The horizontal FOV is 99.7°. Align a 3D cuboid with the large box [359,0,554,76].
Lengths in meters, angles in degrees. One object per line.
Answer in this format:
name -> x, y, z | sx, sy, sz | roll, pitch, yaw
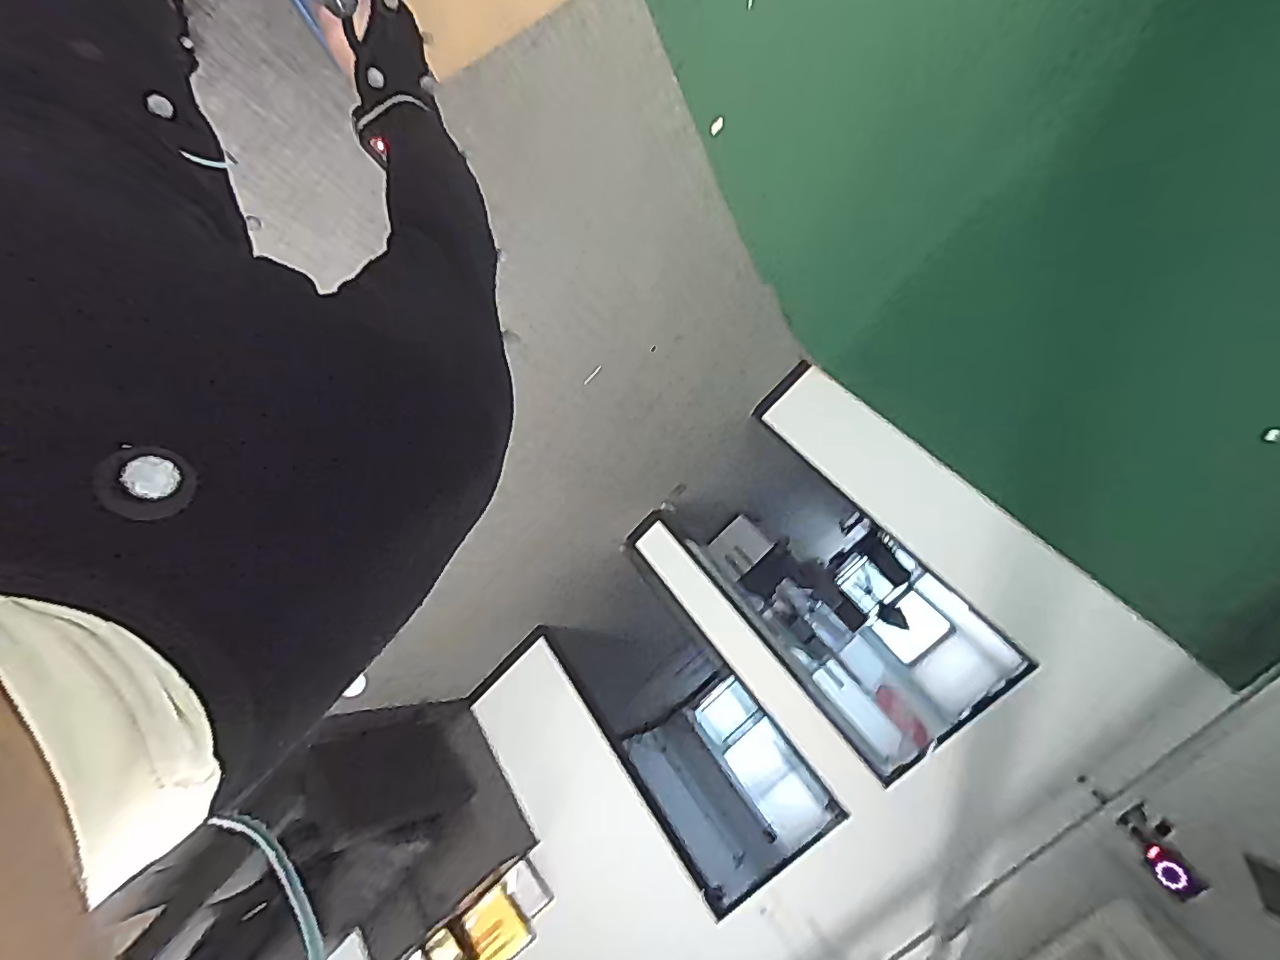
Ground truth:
large box -> -0.315, -0.970, 0.880 | 0.408, 0.320, 0.320 | -38, 153, -6
